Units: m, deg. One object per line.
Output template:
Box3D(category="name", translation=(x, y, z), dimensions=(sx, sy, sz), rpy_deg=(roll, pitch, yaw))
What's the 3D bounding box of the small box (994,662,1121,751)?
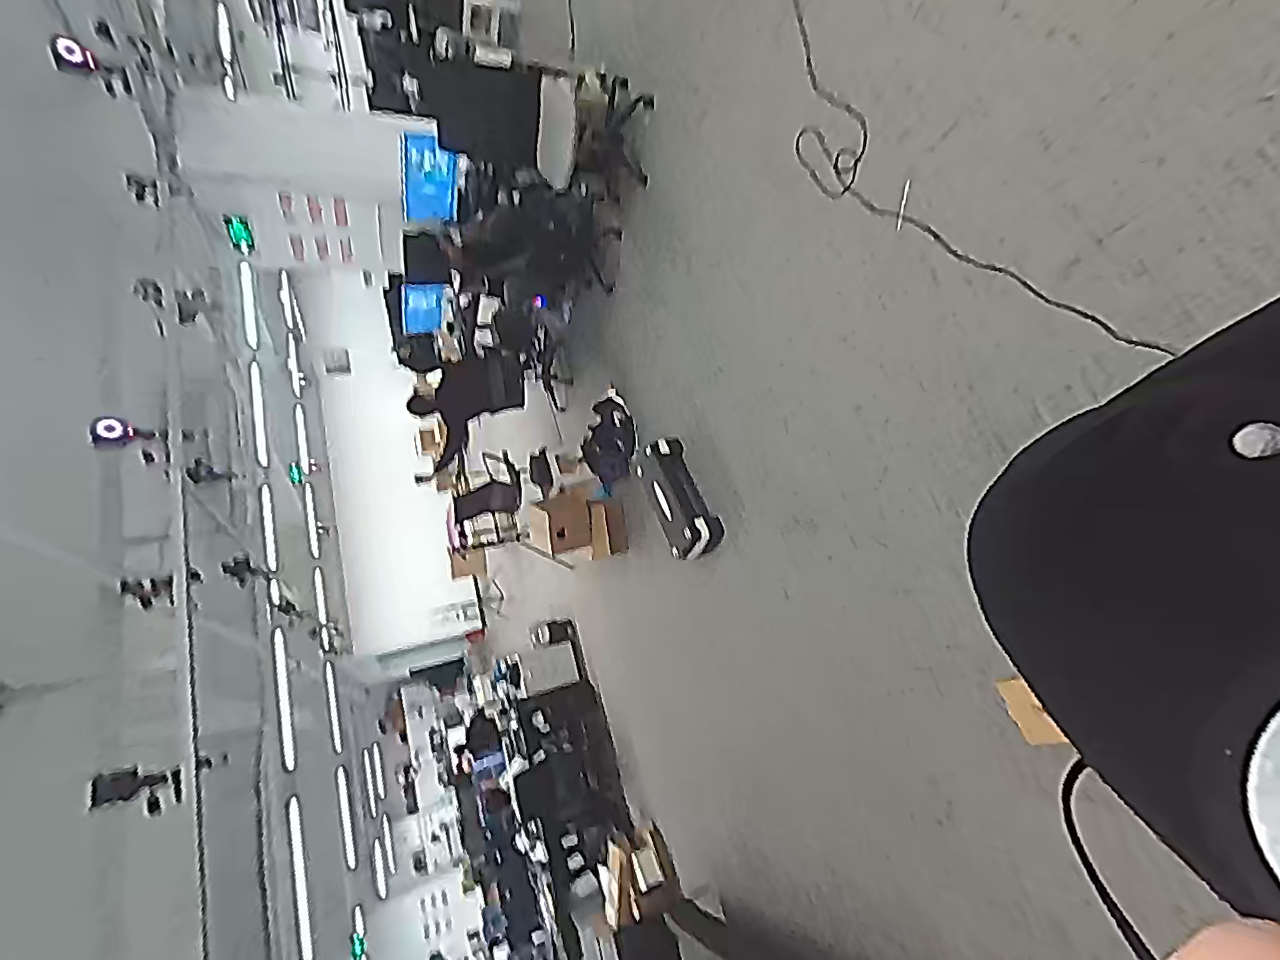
Box3D(category="small box", translation=(1.106, 0.602, 1.437), dimensions=(0.179, 0.176, 0.168), rpy_deg=(-54, 52, 54))
